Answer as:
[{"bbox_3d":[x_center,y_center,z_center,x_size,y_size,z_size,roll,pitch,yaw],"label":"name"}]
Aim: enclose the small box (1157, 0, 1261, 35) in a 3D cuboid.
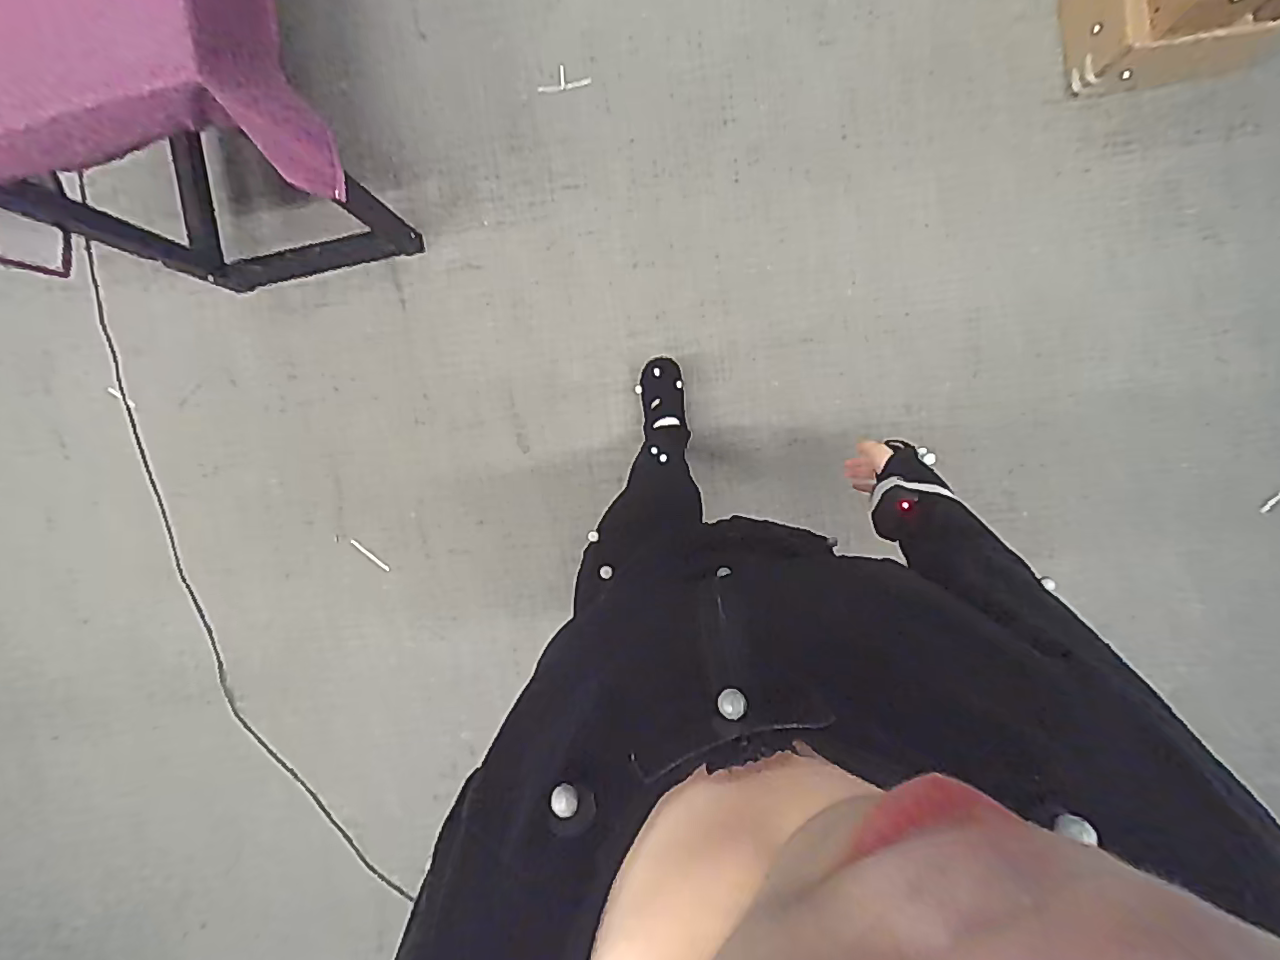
[{"bbox_3d":[1.297,-1.137,1.196,0.179,0.176,0.168,-6,92,6],"label":"small box"}]
